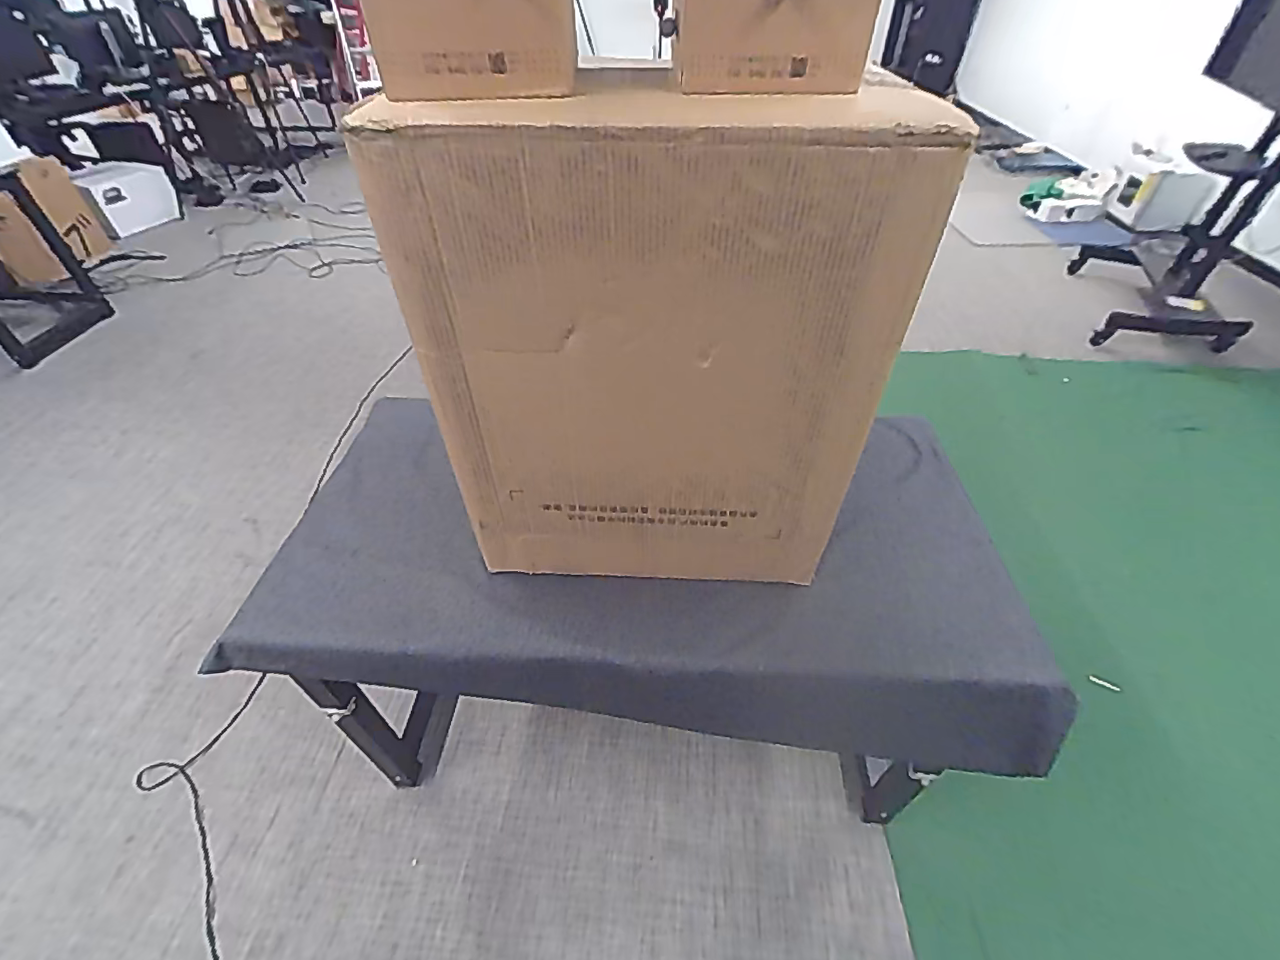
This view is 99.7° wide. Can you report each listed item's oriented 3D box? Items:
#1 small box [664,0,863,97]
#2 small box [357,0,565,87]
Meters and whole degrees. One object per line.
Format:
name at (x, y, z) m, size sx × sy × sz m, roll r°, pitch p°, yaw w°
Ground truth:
small box at (0.108, -0.470, 0.497) m, size 0.168 × 0.176 × 0.179 m, roll -1°, pitch 47°, yaw -1°
small box at (-0.159, -0.465, 0.478) m, size 0.168 × 0.176 × 0.179 m, roll -6°, pitch 48°, yaw -4°
